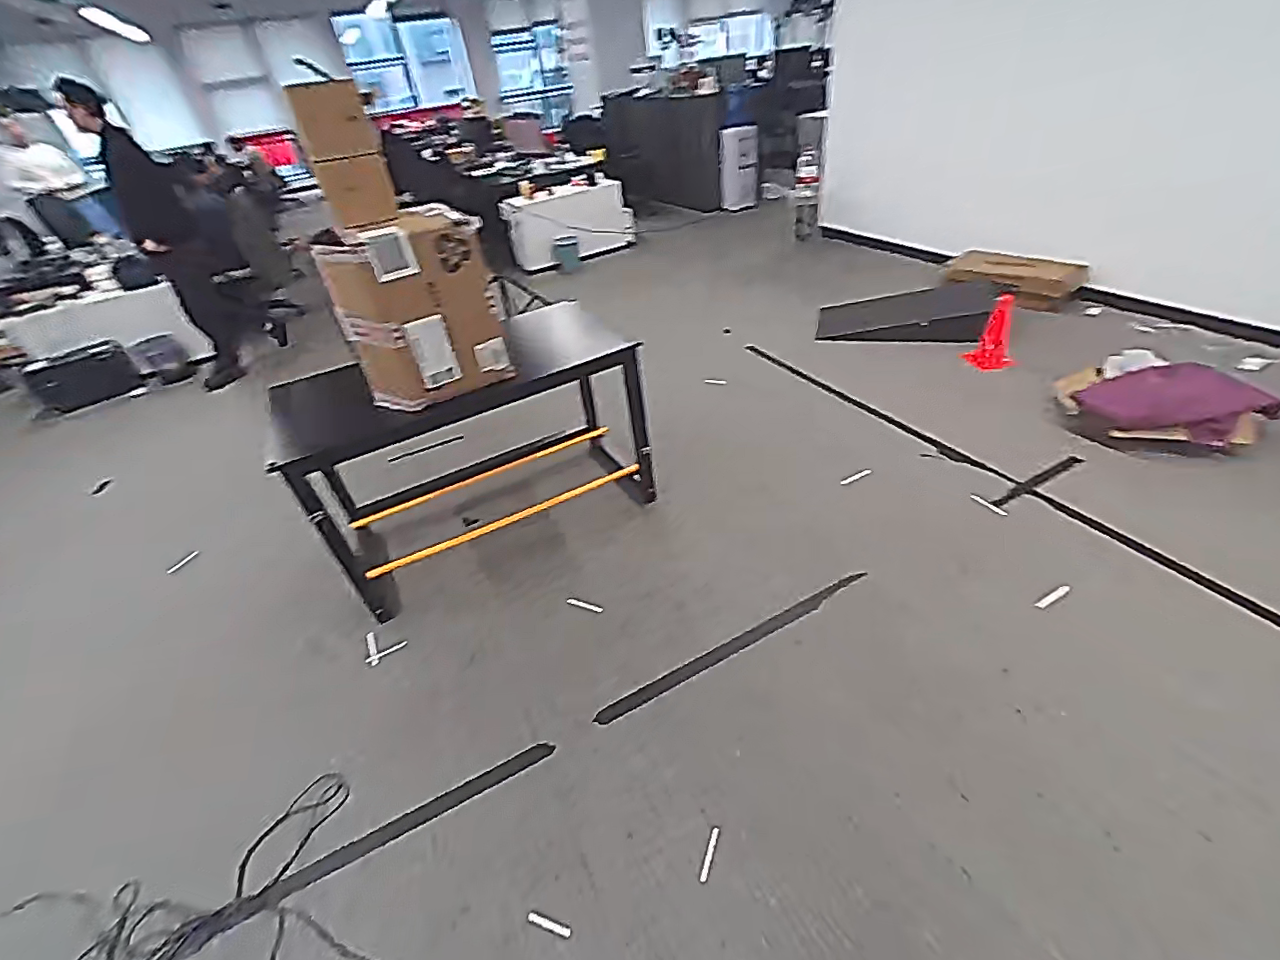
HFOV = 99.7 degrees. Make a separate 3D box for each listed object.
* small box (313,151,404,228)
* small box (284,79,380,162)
[{"bbox_3d":[-0.816,-0.844,1.569,0.179,0.176,0.168,-25,39,-21],"label":"small box"},{"bbox_3d":[-0.831,-0.974,1.471,0.179,0.176,0.168,-27,38,-23],"label":"small box"}]
